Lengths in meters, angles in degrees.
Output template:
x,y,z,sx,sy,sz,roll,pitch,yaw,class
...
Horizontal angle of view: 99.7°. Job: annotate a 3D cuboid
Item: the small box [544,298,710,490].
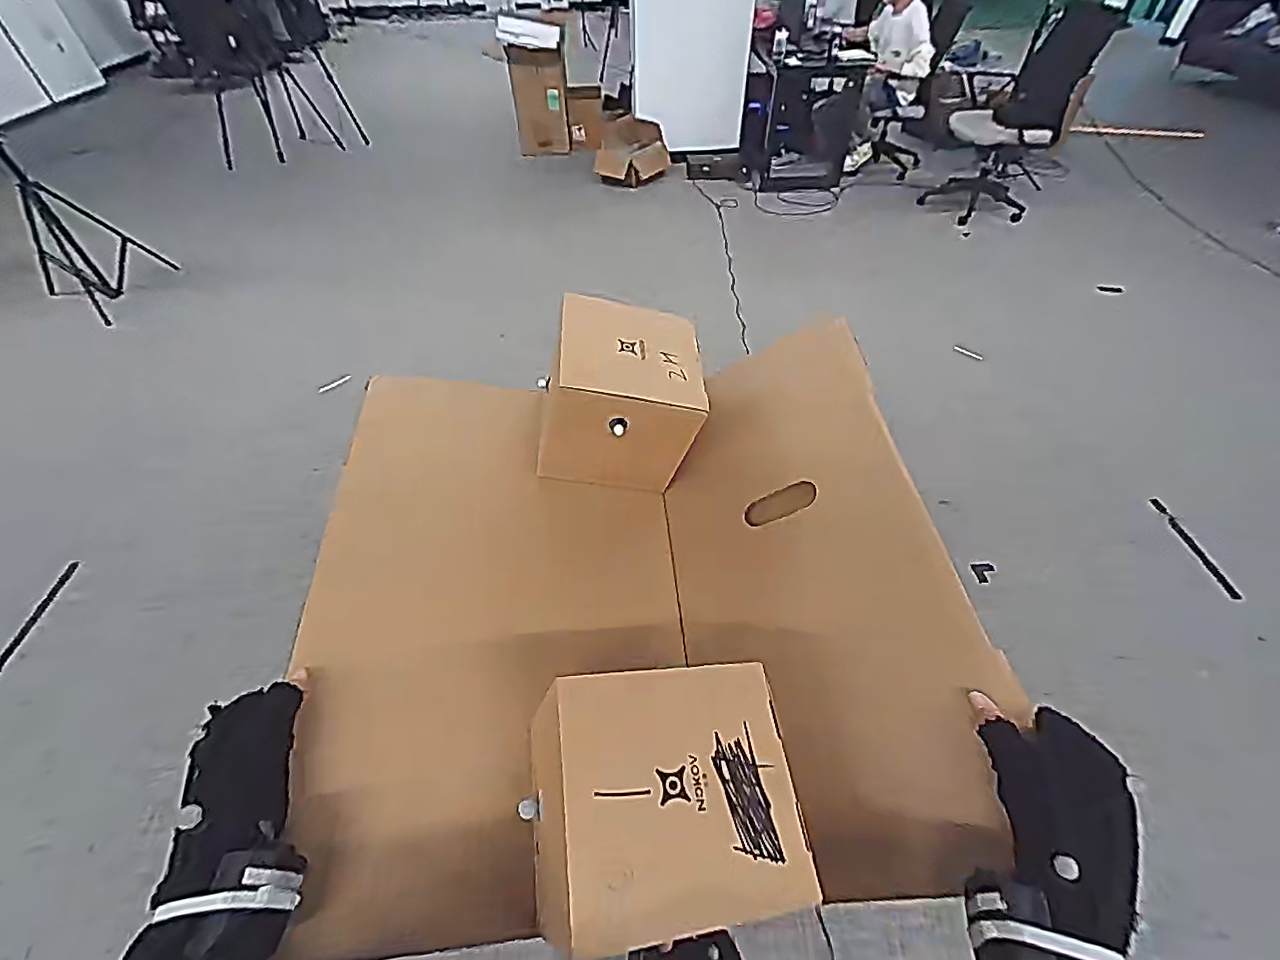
x,y,z,sx,sy,sz,roll,pitch,yaw,class
-0.026,-0.103,0.706,0.179,0.176,0.168,9,53,-14,small box
